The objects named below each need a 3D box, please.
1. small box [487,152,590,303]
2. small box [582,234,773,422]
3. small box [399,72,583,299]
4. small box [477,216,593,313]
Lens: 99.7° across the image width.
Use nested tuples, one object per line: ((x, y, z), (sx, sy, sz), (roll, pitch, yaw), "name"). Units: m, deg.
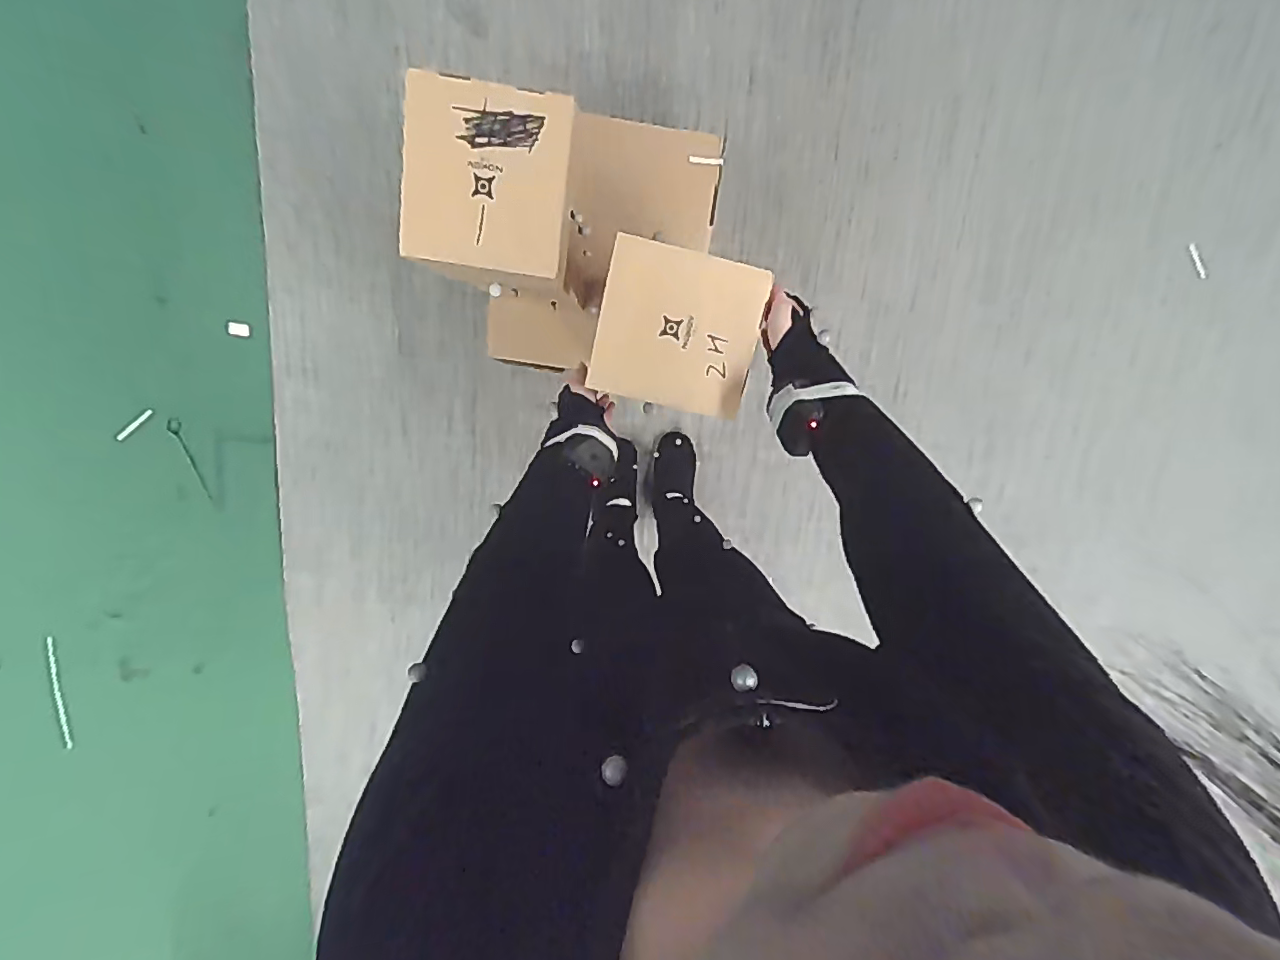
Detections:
((-0.165, -0.366, 0.785), (0.168, 0.176, 0.179), (8, 103, -4), "small box")
((0.037, -0.177, 0.659), (0.179, 0.176, 0.168), (13, 102, -5), "small box")
((-0.160, -0.320, 0.628), (0.168, 0.176, 0.179), (8, 102, -4), "small box")
((-0.176, -0.397, 0.946), (0.168, 0.176, 0.179), (8, 100, -4), "small box")
